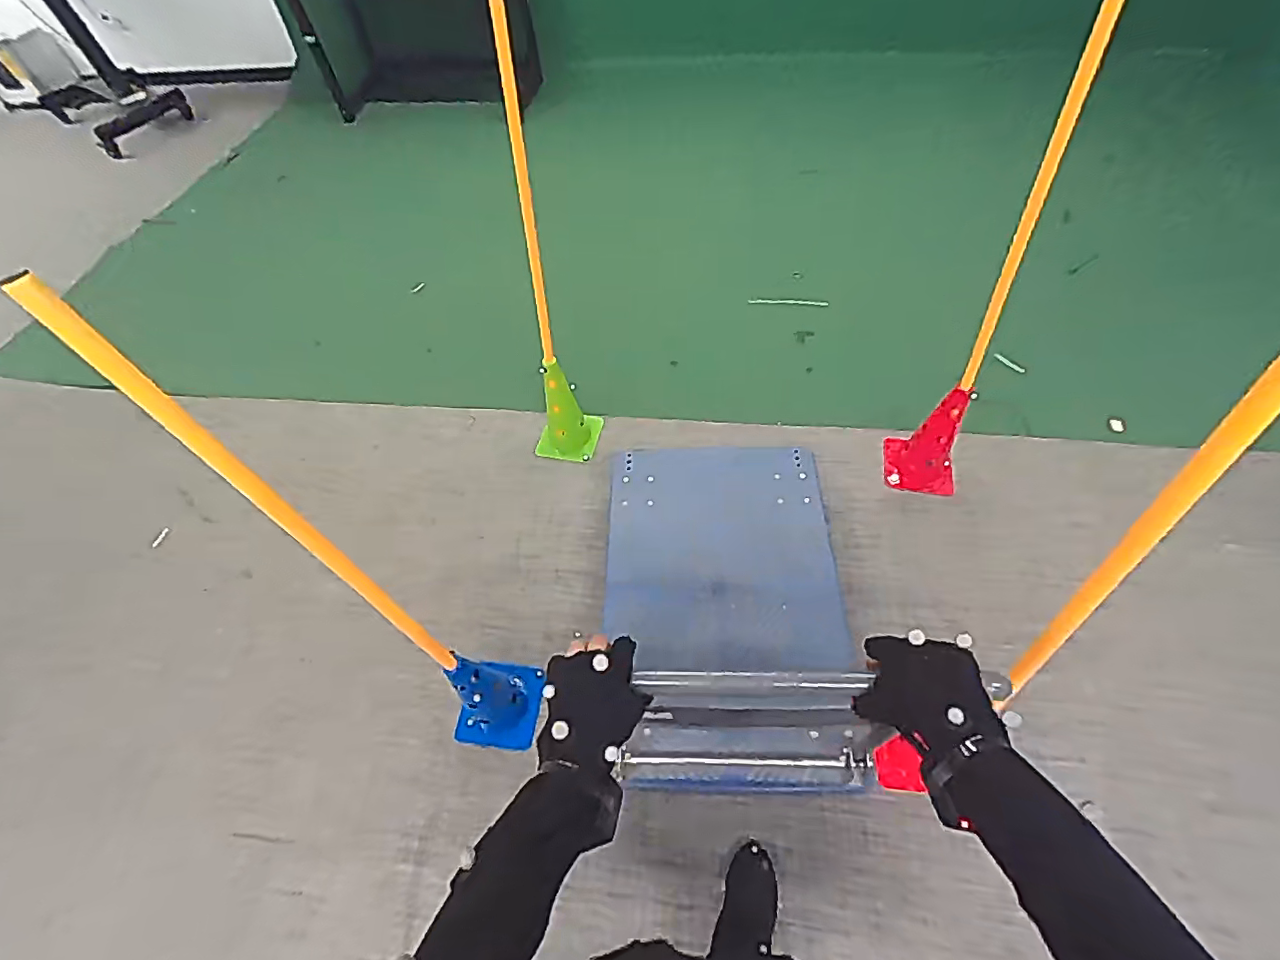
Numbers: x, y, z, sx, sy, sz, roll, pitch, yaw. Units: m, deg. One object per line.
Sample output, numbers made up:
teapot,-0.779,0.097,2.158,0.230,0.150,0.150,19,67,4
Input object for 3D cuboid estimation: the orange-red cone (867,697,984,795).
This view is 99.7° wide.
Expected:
orange-red cone,0.629,0.526,1.137,0.199,0.360,0.198,3,55,9

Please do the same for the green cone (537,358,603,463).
green cone,-0.256,-0.246,1.739,0.202,0.368,0.200,7,56,11
